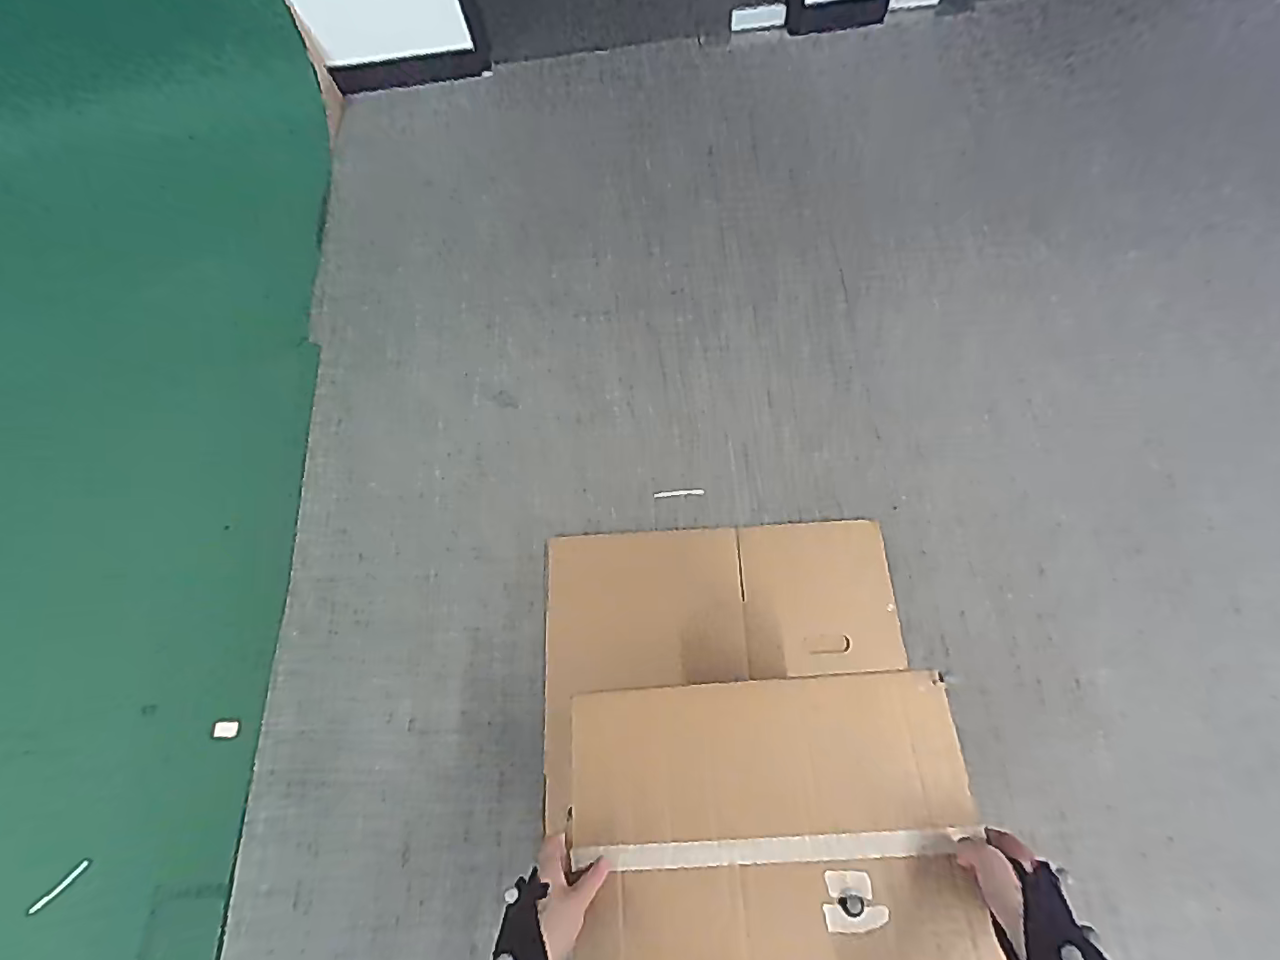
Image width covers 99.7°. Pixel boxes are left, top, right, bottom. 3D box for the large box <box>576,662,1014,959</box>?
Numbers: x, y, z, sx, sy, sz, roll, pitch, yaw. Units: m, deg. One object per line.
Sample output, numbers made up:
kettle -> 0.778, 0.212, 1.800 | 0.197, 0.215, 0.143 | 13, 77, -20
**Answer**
large box -> 0.146, 0.421, 0.676 | 0.408, 0.320, 0.320 | -5, 66, 3
